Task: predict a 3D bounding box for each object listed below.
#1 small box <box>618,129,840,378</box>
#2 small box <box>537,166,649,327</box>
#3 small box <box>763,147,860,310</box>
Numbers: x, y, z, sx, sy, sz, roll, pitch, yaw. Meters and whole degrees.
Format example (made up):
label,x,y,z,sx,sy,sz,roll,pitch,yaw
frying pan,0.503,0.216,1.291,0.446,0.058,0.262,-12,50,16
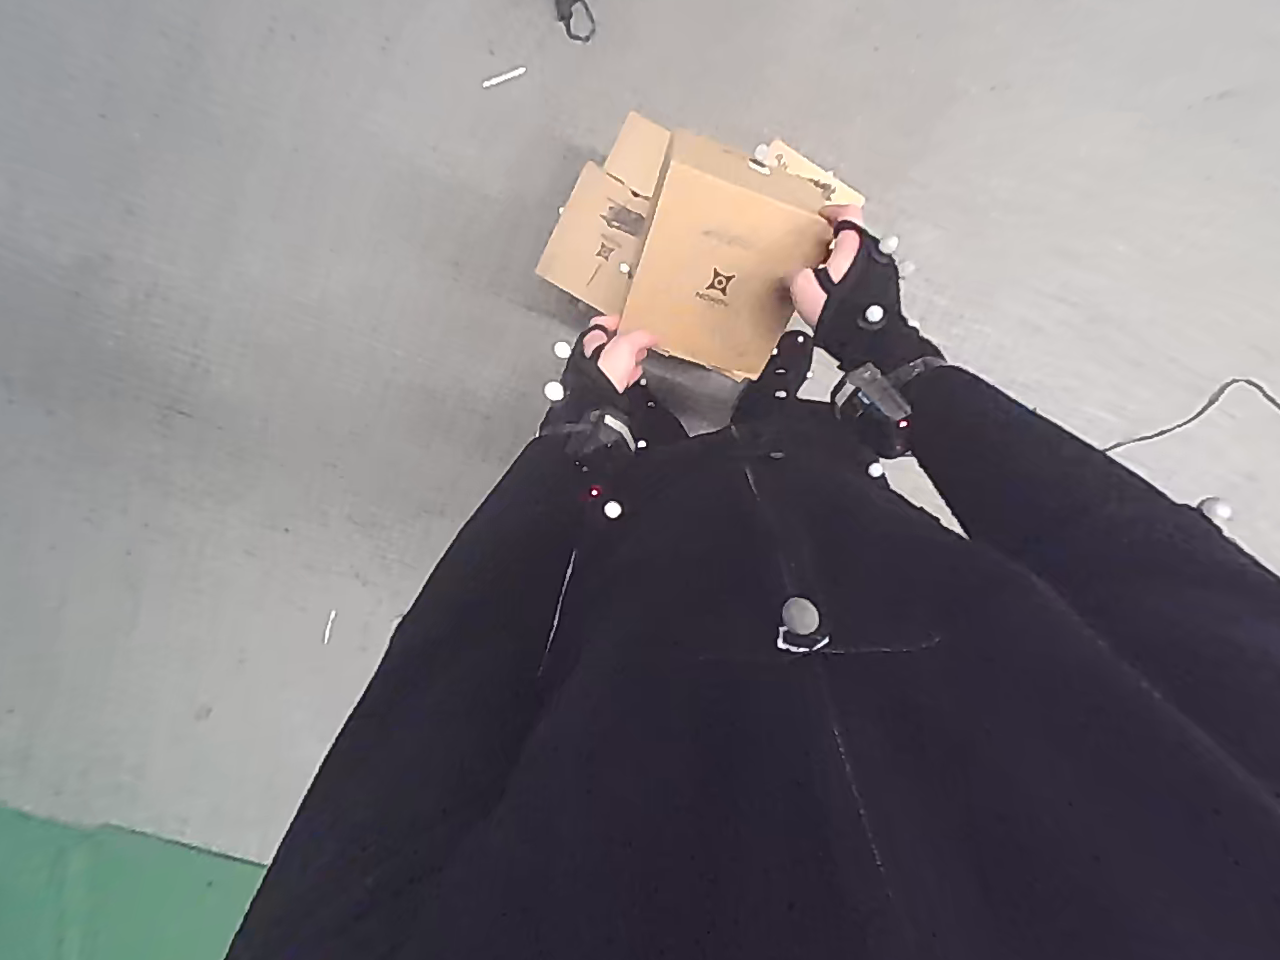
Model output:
label,x,y,z,sx,sy,sz,roll,pitch,yaw
small box,0.083,-0.245,0.584,0.168,0.176,0.179,15,129,-10
small box,-0.046,-0.362,0.881,0.168,0.176,0.179,30,103,-8
small box,0.215,-0.386,0.883,0.168,0.176,0.179,30,99,-7
